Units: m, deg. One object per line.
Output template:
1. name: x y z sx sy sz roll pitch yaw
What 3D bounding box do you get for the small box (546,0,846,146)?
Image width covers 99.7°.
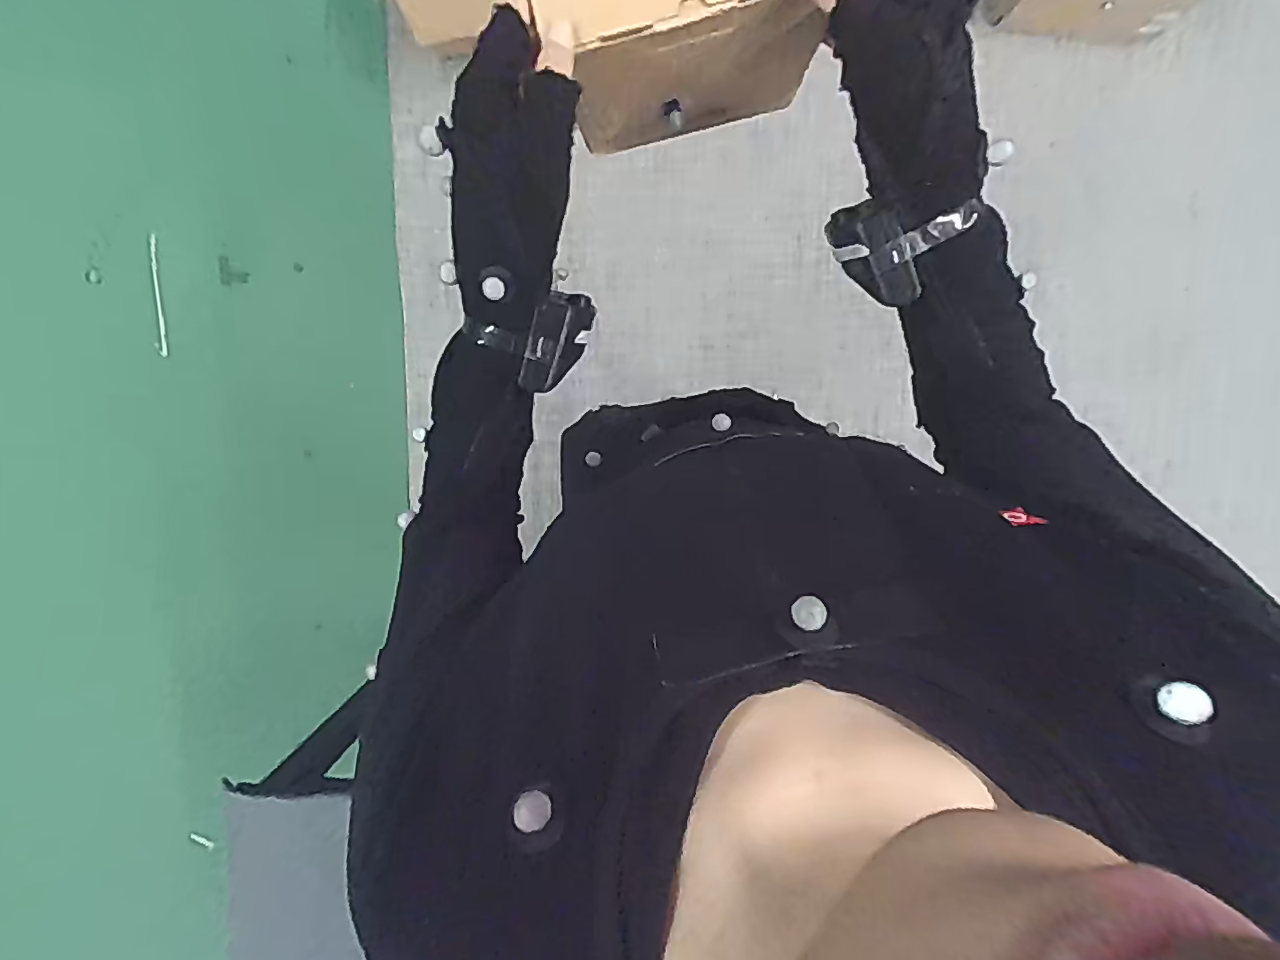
1. small box: 0.024 -0.348 0.341 0.168 0.176 0.179 -10 104 8
